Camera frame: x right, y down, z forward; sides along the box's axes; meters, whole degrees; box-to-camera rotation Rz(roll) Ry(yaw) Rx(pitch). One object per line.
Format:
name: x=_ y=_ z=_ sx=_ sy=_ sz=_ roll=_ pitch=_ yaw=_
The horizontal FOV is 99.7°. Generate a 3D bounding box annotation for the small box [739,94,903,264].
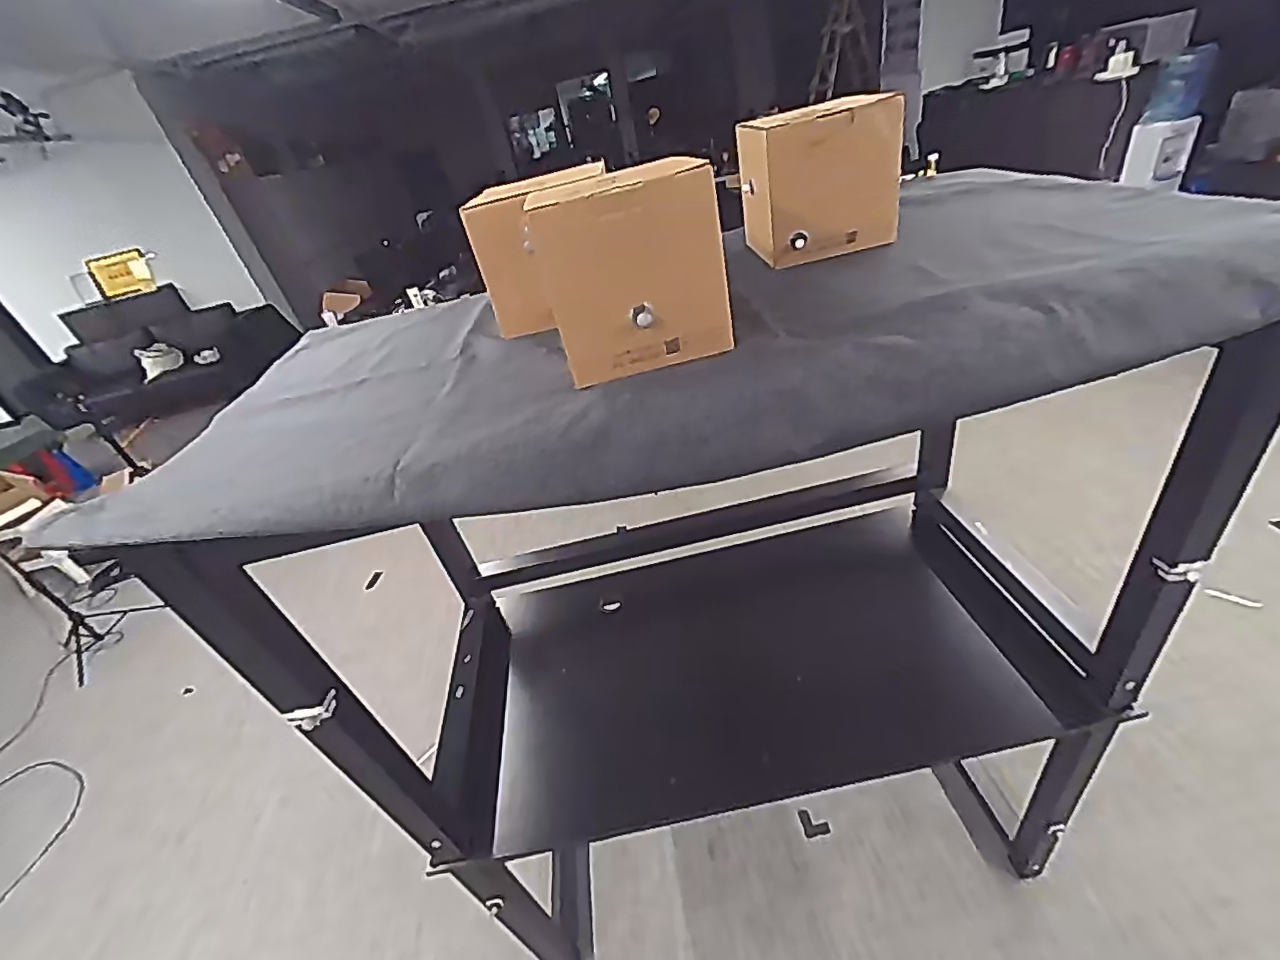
small box: x=0.242 y=-0.411 z=0.747 sx=0.168 sy=0.176 sz=0.179 roll=-11 pitch=34 yaw=4

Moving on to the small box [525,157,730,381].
small box: x=-0.012 y=-0.223 z=0.566 sx=0.168 sy=0.176 sz=0.179 roll=-14 pitch=34 yaw=0

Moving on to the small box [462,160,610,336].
small box: x=-0.113 y=-0.318 z=0.741 sx=0.179 sy=0.176 sz=0.168 roll=-11 pitch=35 yaw=5
